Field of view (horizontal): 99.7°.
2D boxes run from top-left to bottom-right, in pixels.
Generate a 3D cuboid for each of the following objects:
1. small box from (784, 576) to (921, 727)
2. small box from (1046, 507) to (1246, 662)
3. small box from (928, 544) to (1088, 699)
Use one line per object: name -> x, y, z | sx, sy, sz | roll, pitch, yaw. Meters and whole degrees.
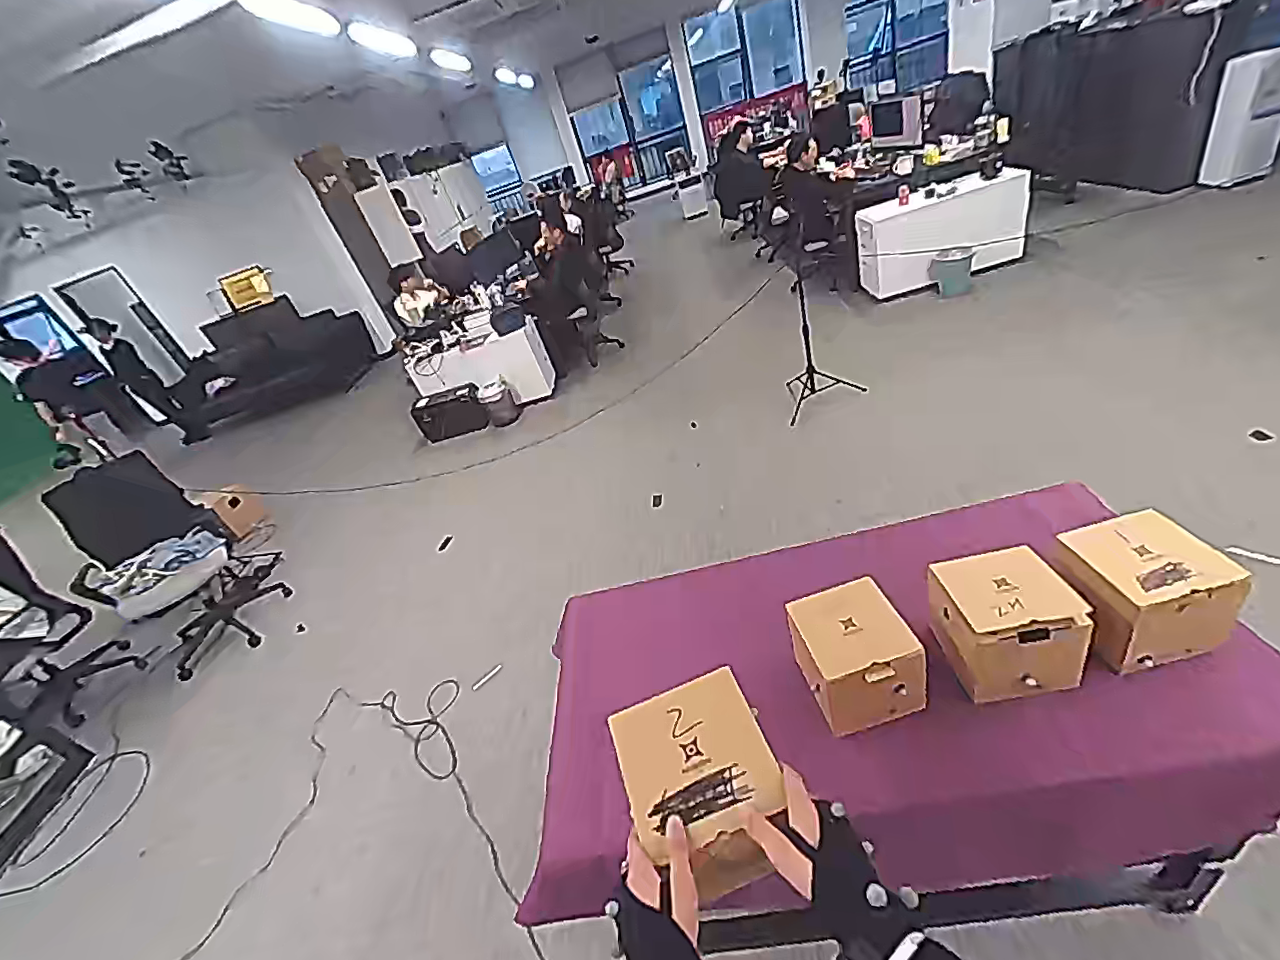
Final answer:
small box -> 0.376, 0.309, 0.960 | 0.168, 0.176, 0.179 | -19, 33, 1
small box -> 0.821, 0.180, 0.903 | 0.168, 0.176, 0.179 | -18, 32, 5
small box -> 0.611, 0.242, 0.926 | 0.168, 0.176, 0.179 | -15, 33, 10
